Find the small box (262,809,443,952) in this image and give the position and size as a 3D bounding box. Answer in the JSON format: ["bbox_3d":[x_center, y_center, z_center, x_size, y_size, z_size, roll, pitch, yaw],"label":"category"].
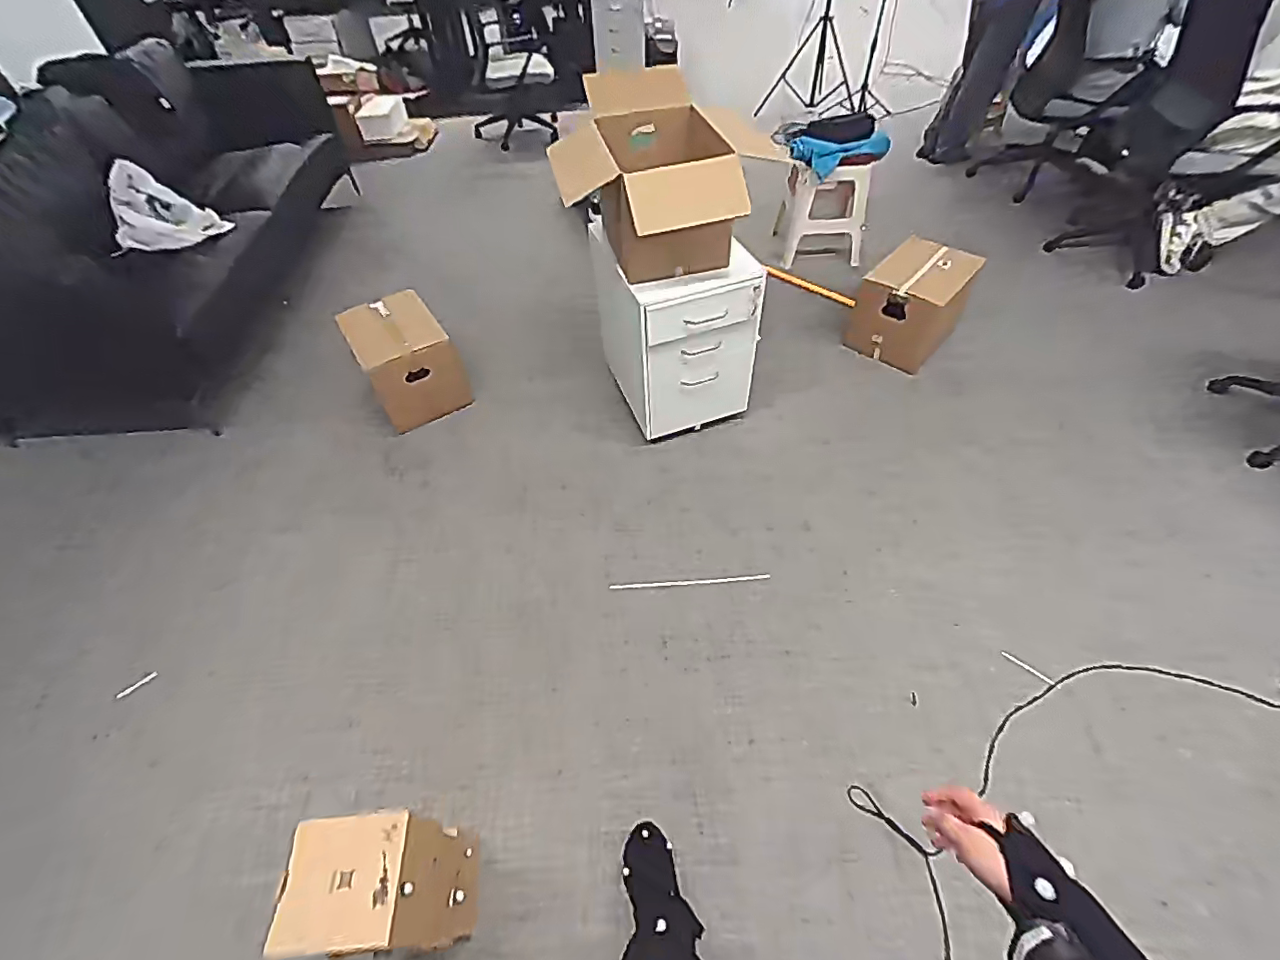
[{"bbox_3d":[-0.439,0.637,0.860,0.179,0.176,0.168,-5,51,0],"label":"small box"}]

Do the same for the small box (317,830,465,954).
[{"bbox_3d":[-0.437,0.747,0.982,0.179,0.176,0.168,-4,51,-1],"label":"small box"}]
